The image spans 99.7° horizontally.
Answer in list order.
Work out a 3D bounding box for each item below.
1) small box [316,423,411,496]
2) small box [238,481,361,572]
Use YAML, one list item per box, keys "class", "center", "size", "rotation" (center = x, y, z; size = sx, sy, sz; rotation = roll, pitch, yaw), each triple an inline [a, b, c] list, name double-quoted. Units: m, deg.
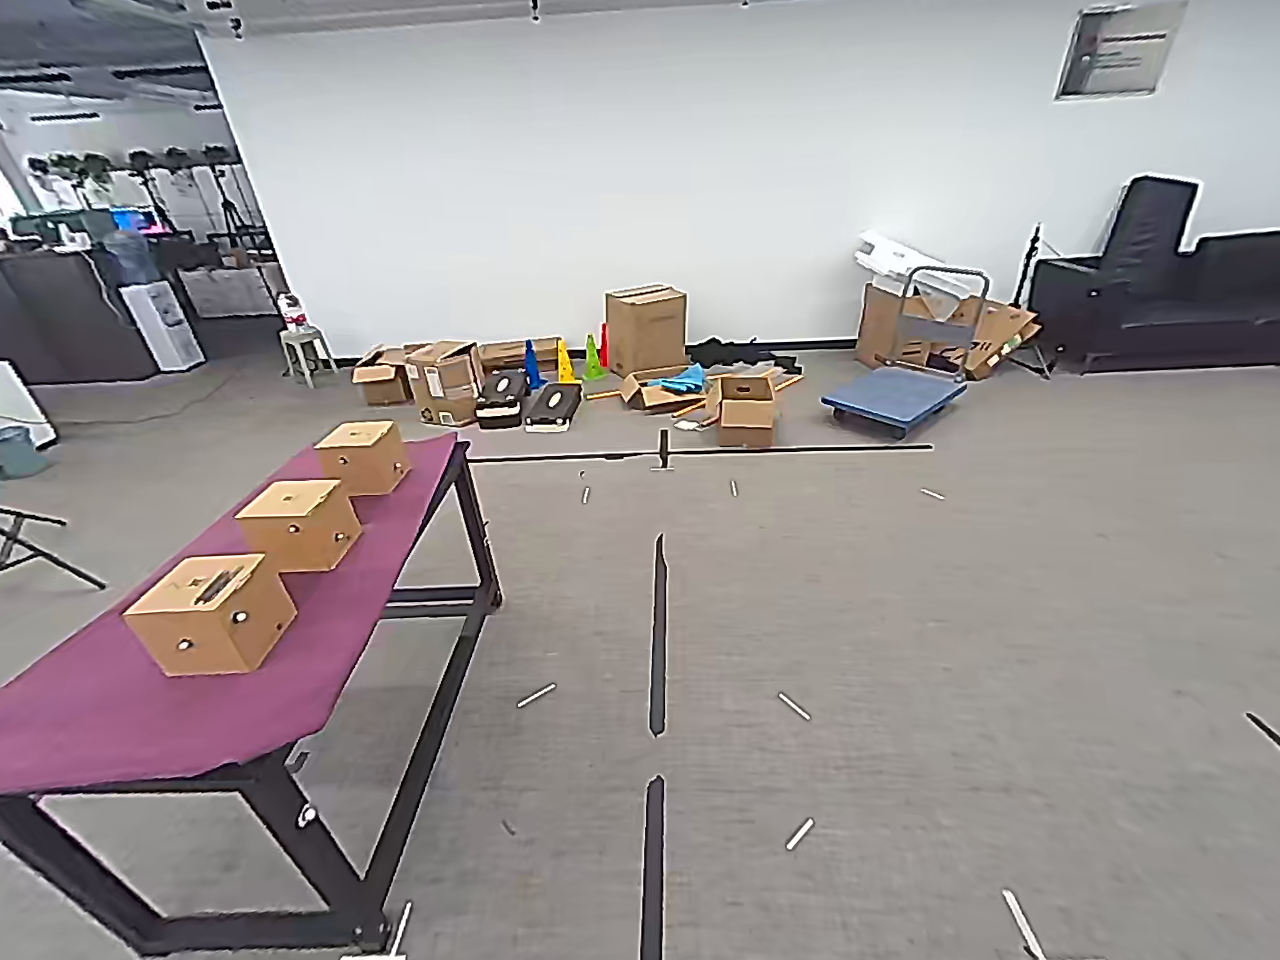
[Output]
- class: "small box"
  center: [-0.830, -0.061, 1.642]
  size: [0.179, 0.176, 0.168]
  rotation: [-2, 31, 4]
- class: "small box"
  center: [-0.838, 0.117, 1.351]
  size: [0.179, 0.176, 0.168]
  rotation: [-2, 31, 2]
